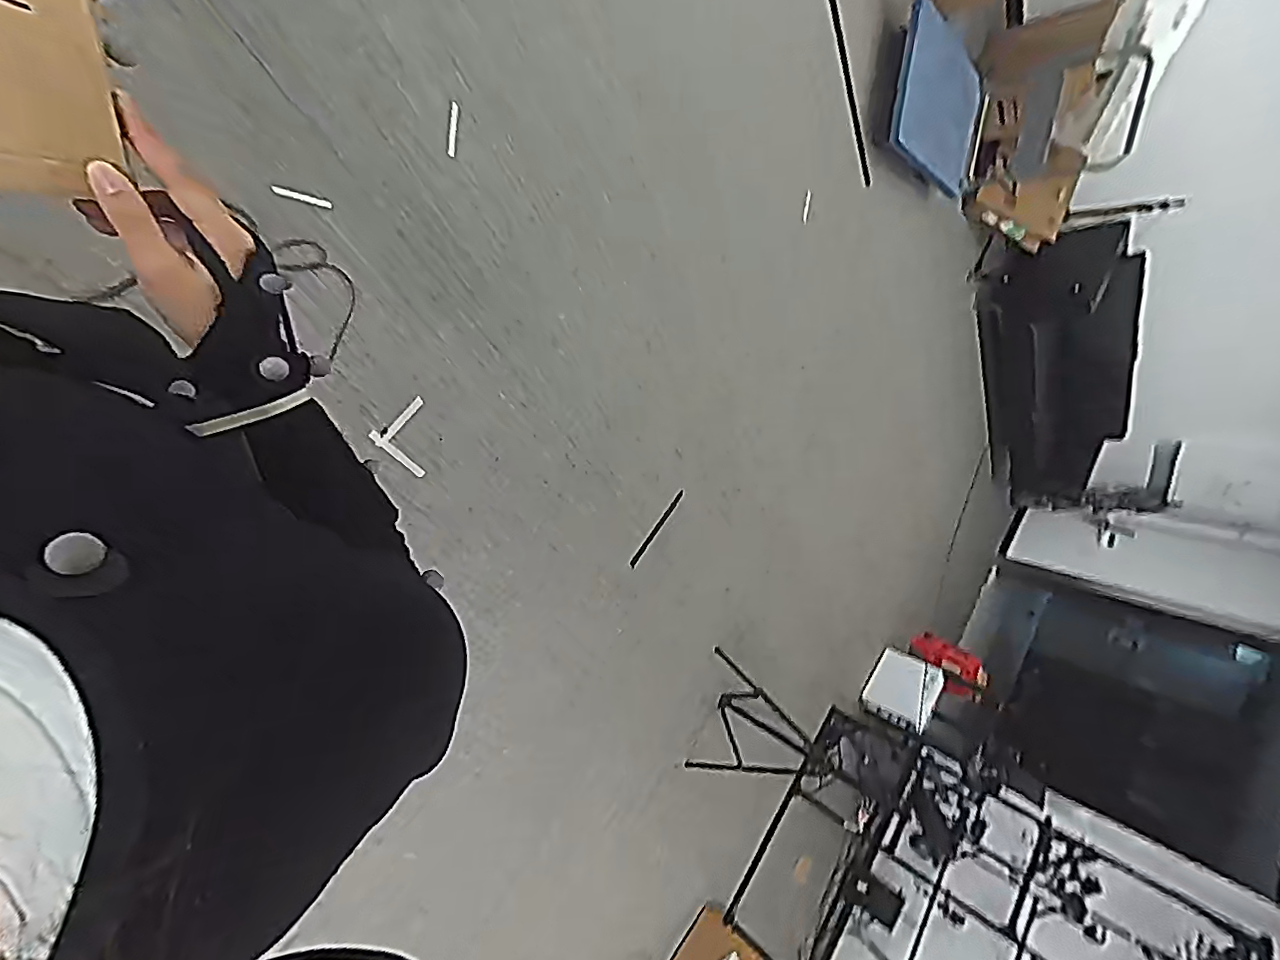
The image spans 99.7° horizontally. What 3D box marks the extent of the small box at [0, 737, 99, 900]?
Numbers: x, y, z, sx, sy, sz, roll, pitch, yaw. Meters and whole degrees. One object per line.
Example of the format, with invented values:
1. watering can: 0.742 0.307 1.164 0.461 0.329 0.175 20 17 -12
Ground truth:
1. small box: -1.112 0.594 0.956 0.168 0.176 0.179 46 69 -42
